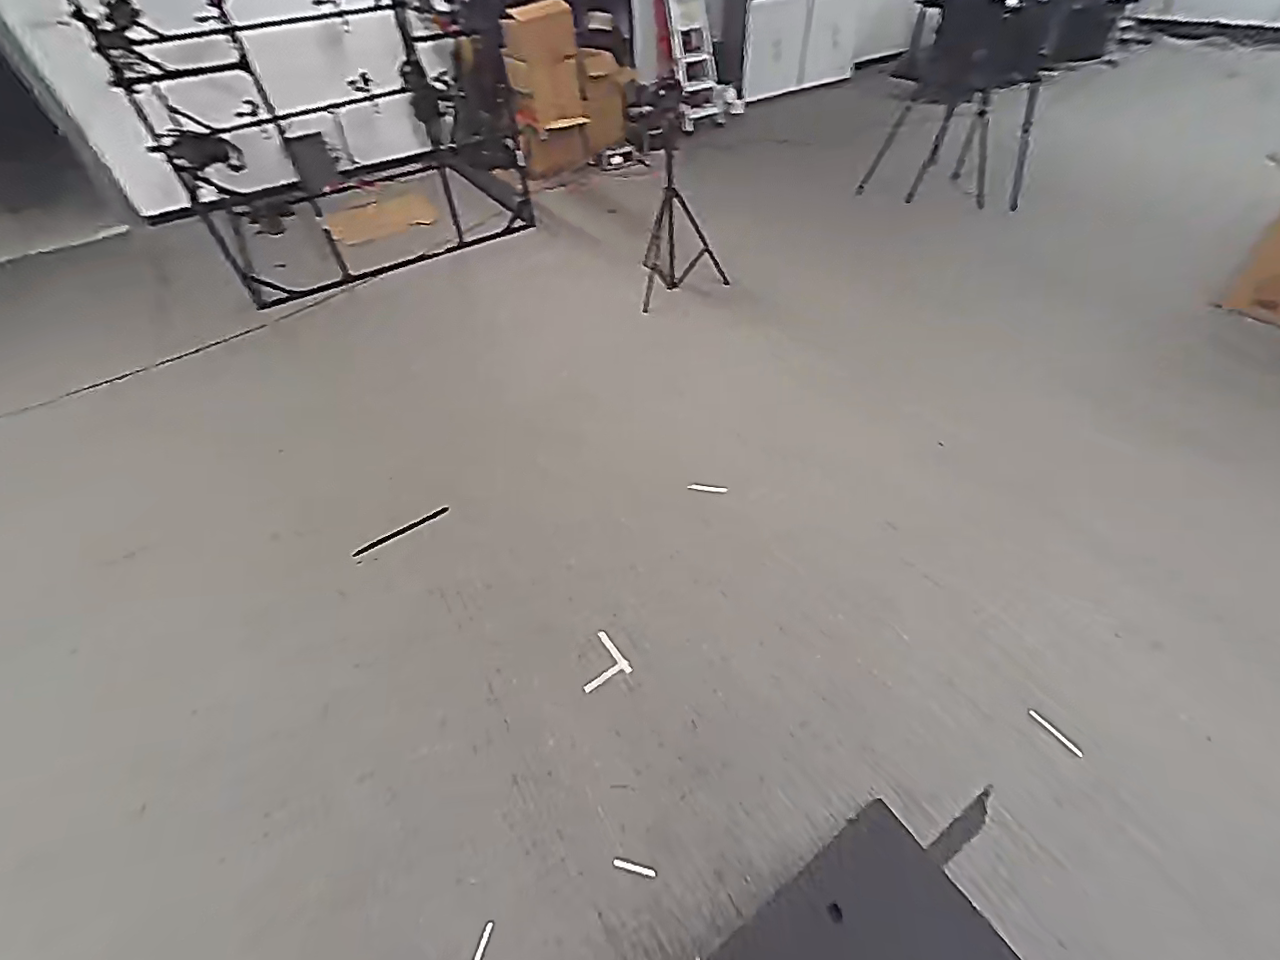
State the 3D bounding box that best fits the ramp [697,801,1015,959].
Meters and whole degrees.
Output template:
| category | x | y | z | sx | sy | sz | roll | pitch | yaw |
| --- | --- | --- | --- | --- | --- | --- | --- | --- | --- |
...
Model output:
| category | x | y | z | sx | sy | sz | roll | pitch | yaw |
| --- | --- | --- | --- | --- | --- | --- | --- | --- | --- |
| ramp | 0.335 | 1.131 | 1.052 | 0.991 | 0.206 | 0.509 | -29 | 50 | -22 |
